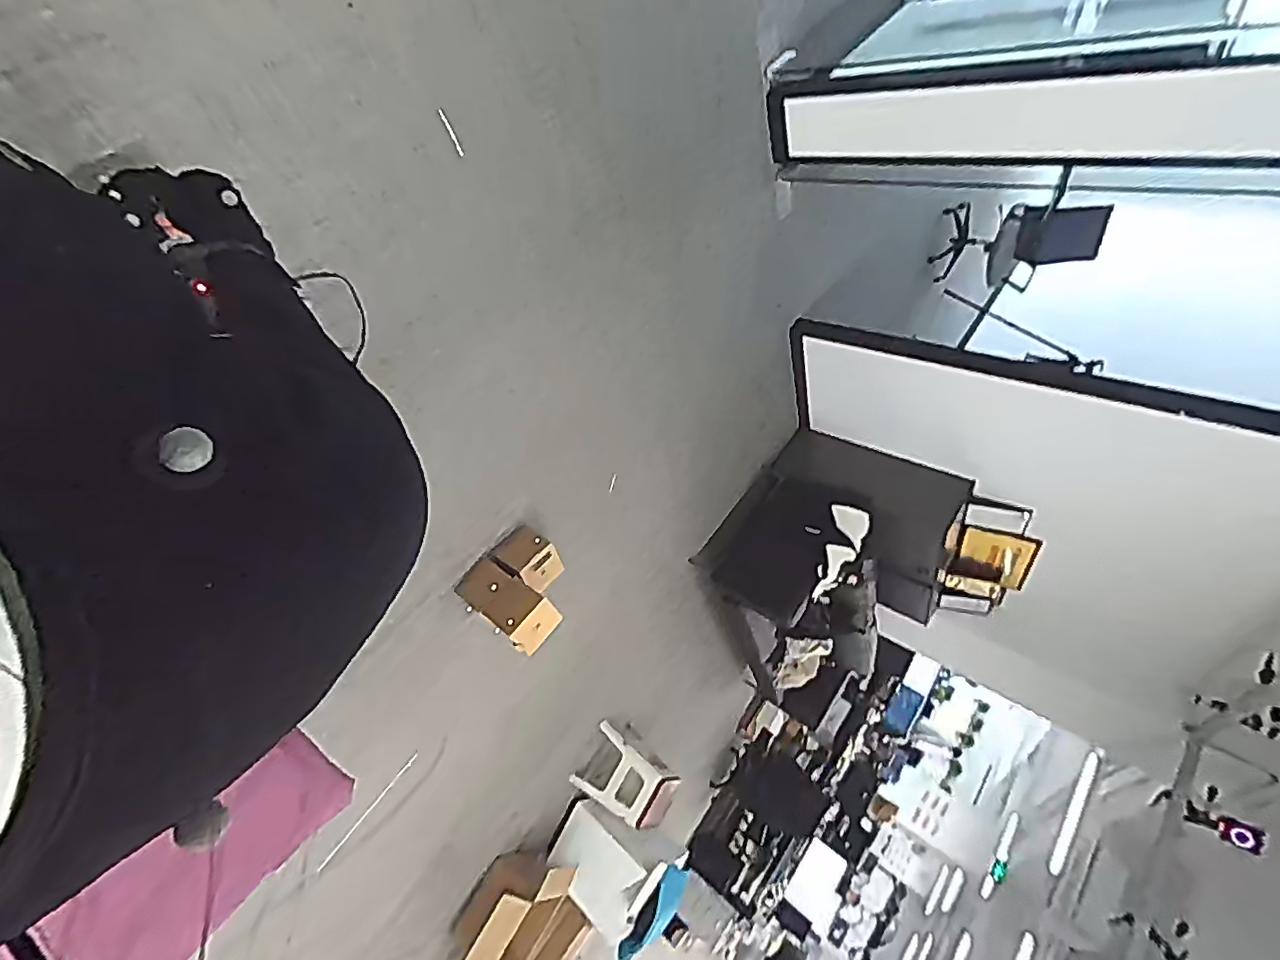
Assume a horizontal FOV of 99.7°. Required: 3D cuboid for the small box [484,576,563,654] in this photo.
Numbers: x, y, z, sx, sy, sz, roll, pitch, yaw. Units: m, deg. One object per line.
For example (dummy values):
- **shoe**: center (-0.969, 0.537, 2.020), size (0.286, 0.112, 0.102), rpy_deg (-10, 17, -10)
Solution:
- **small box**: center (-0.411, 0.469, 1.903), size (0.179, 0.176, 0.168), rpy_deg (-48, 141, -20)
